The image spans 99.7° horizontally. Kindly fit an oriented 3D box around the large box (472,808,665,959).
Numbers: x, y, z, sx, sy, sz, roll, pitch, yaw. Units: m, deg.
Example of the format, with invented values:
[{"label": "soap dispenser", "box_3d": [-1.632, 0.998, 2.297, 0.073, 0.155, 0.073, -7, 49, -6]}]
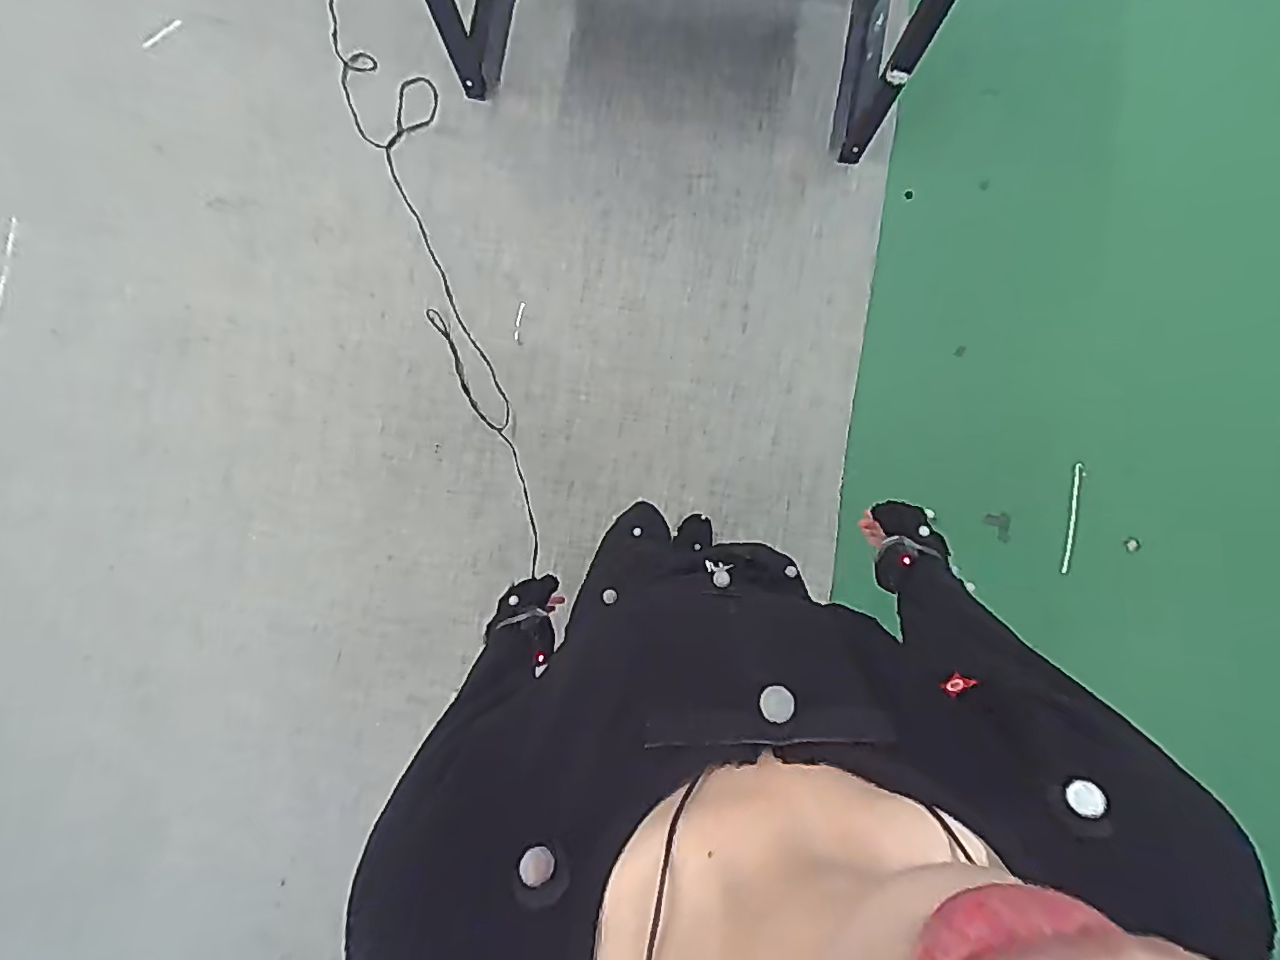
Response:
[{"label": "large box", "box_3d": [-0.168, 1.058, 1.318, 0.408, 0.320, 0.320, 10, 87, 0]}]
